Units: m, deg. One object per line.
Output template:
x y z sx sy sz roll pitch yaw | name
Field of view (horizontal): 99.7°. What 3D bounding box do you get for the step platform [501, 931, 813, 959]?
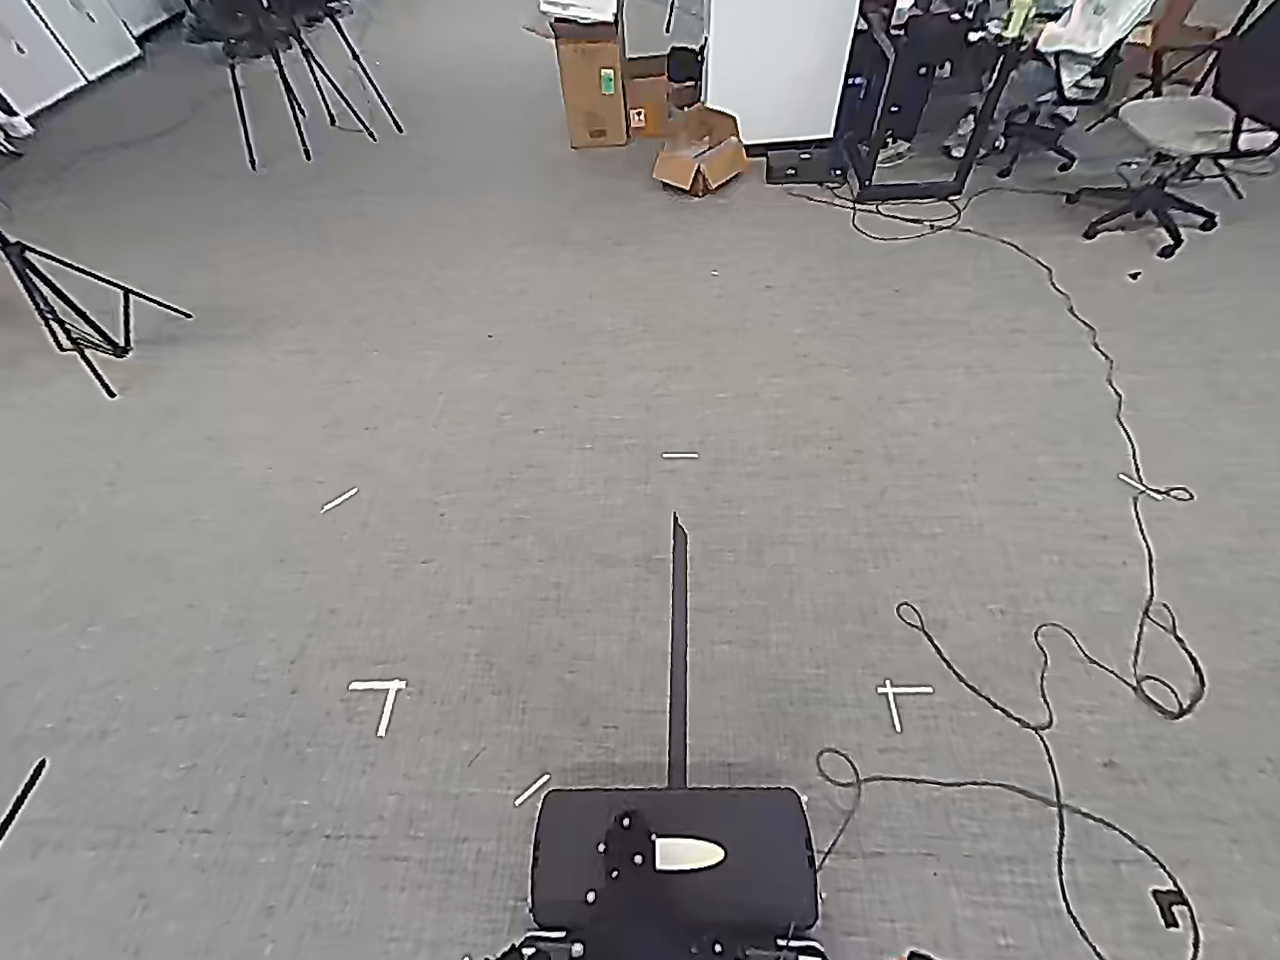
0.035 1.113 1.100 0.684 0.204 0.286 -3 53 4 | step platform
